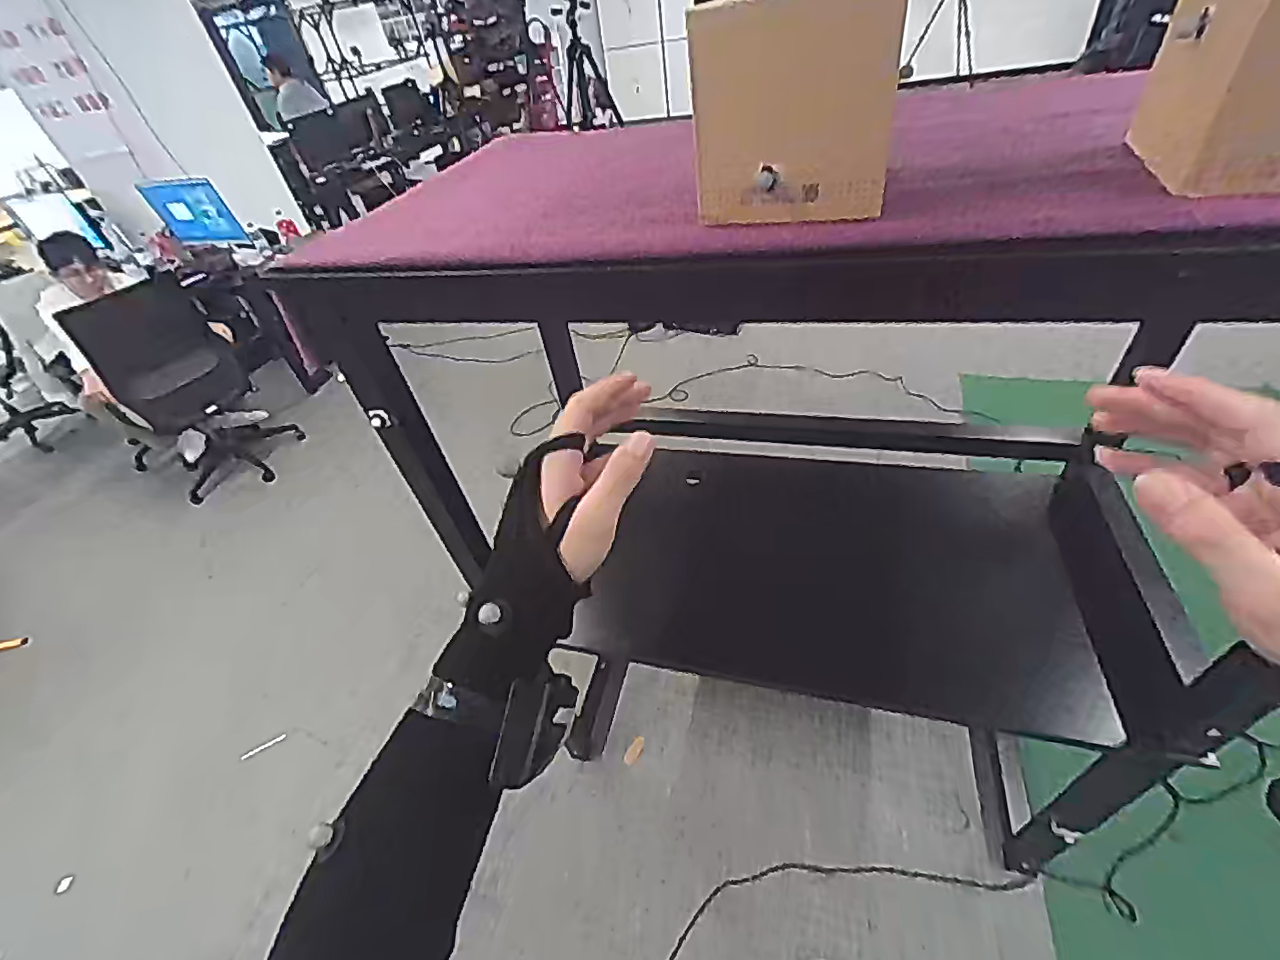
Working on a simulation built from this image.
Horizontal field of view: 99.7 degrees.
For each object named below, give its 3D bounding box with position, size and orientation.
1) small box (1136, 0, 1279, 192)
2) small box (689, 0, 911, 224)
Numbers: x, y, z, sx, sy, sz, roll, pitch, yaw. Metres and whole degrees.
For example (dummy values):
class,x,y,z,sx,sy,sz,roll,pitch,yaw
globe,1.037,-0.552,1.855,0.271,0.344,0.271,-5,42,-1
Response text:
class,x,y,z,sx,sy,sz,roll,pitch,yaw
small box,0.514,-0.327,0.395,0.168,0.176,0.179,7,45,21
small box,0.151,-0.355,0.507,0.168,0.176,0.179,7,44,20
